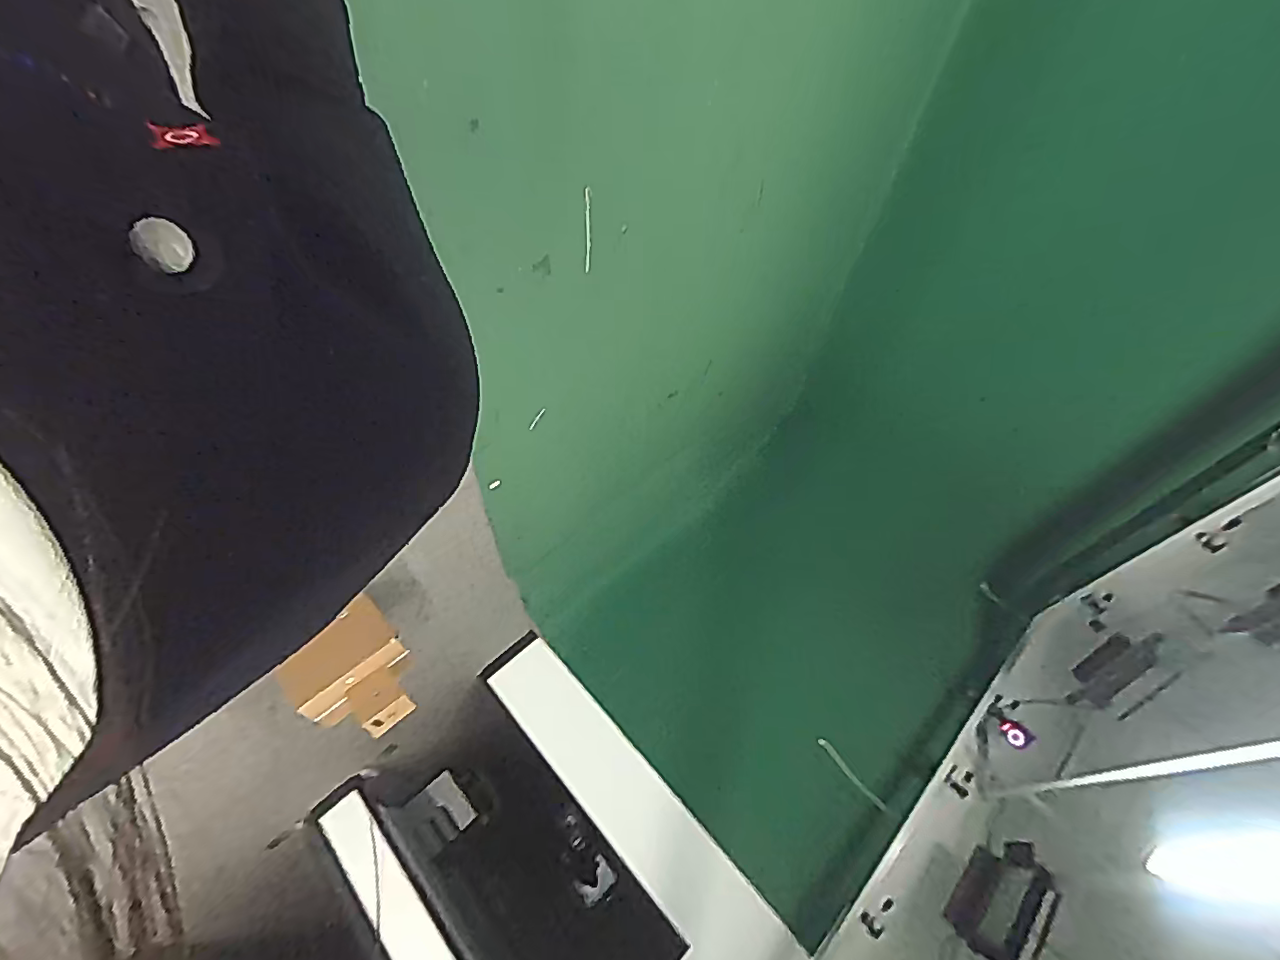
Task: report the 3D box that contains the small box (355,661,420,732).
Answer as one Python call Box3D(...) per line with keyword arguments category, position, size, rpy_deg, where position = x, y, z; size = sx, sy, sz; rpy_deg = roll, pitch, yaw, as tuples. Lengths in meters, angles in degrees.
Box3D(category="small box", position=(-1.028, 0.874, 2.190), size=(0.179, 0.176, 0.168), rpy_deg=(-34, 149, -31))
